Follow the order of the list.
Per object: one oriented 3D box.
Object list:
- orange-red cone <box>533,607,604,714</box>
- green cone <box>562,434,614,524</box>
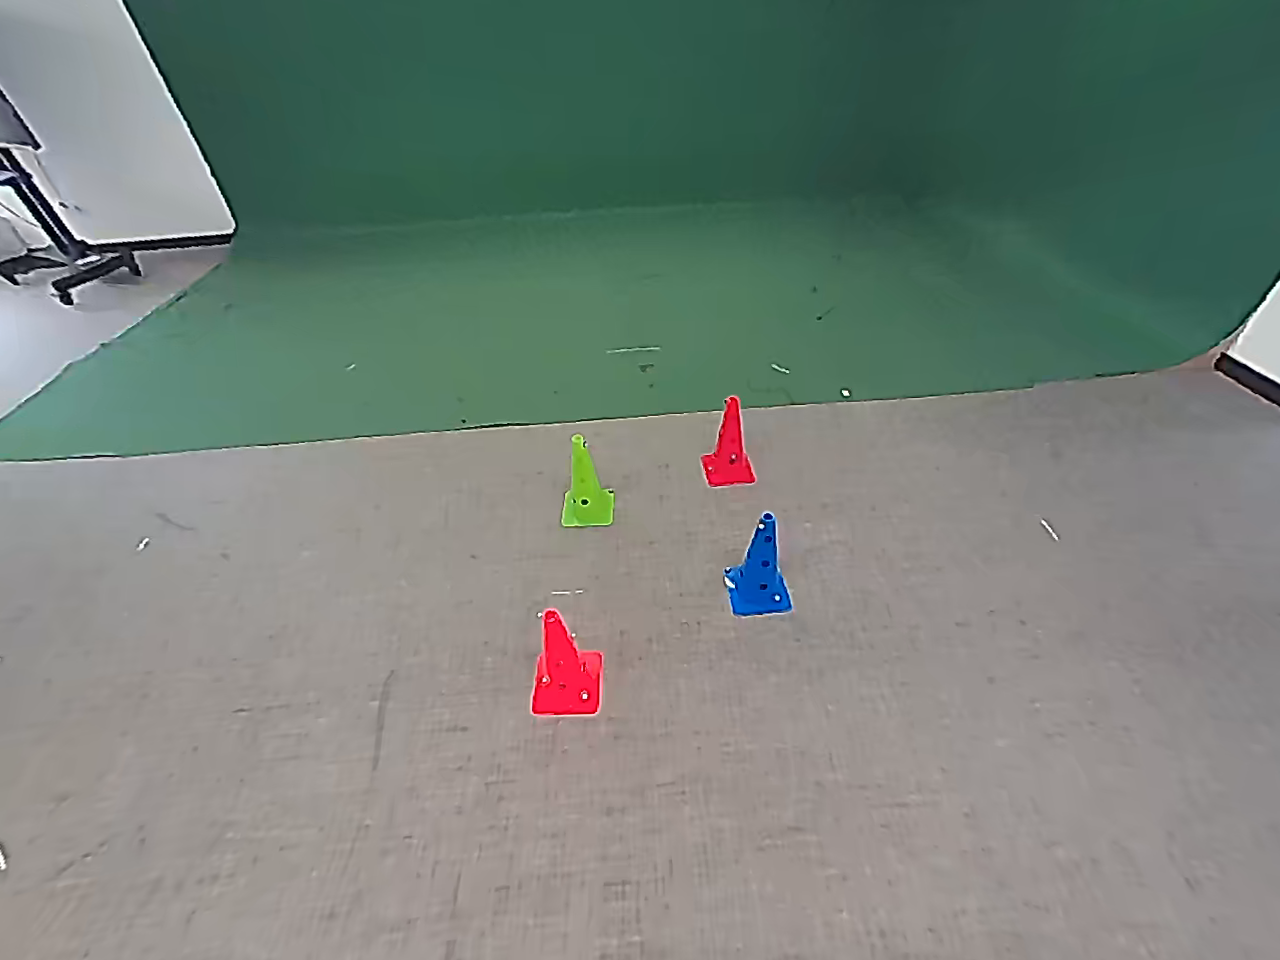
[{"bbox_3d":[-0.216,0.469,1.502,0.198,0.360,0.199,-1,41,2],"label":"orange-red cone"},{"bbox_3d":[-0.215,-0.025,2.041,0.200,0.368,0.202,-3,43,2],"label":"green cone"}]
